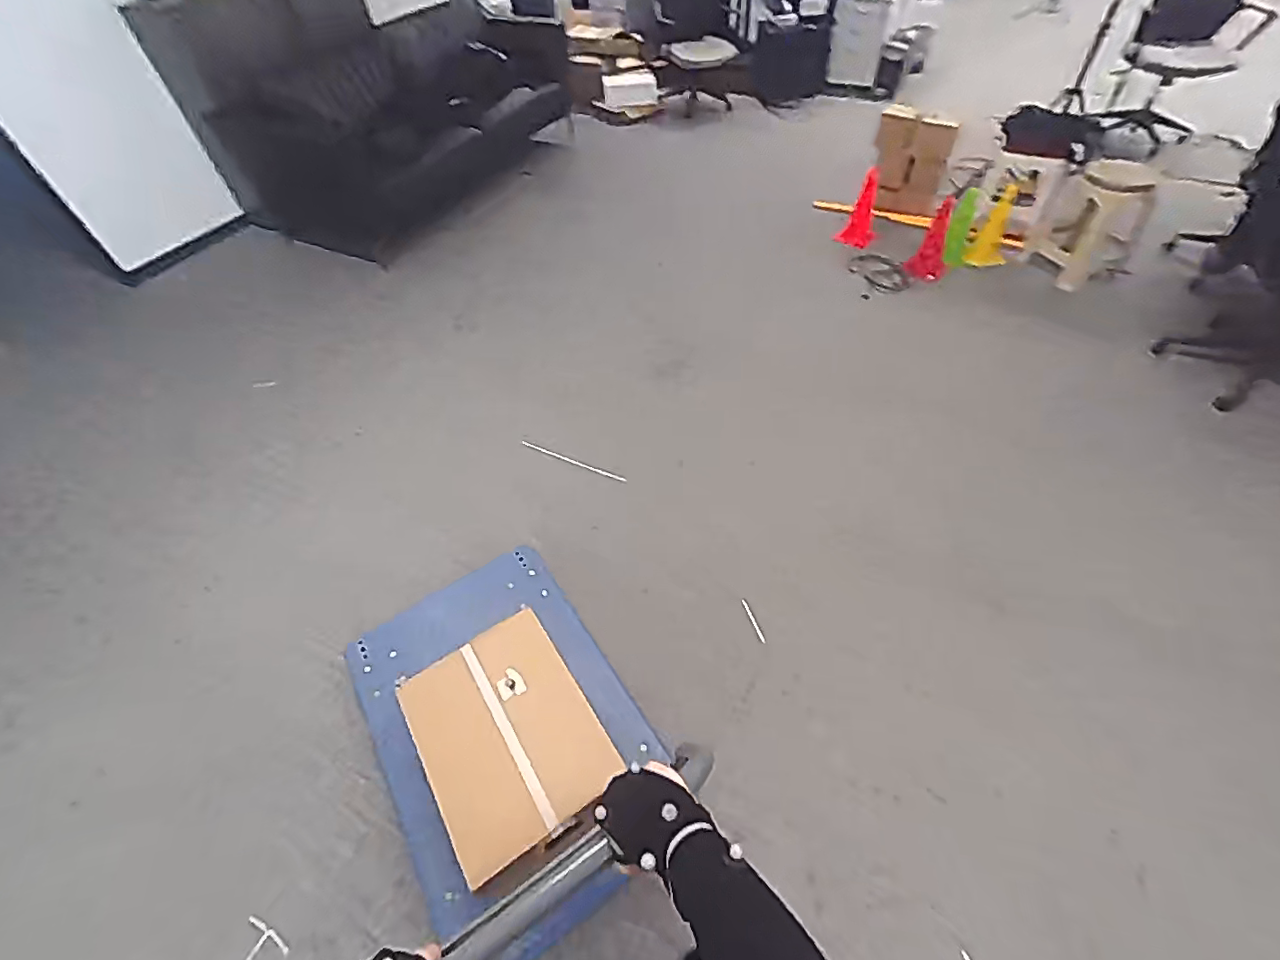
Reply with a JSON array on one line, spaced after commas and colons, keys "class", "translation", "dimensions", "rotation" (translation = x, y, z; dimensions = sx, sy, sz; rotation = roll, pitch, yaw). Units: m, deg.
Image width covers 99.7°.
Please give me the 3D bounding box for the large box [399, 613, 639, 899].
[{"class": "large box", "translation": [-0.244, 0.578, 1.151], "dimensions": [0.320, 0.320, 0.408], "rotation": [-29, 54, -20]}]
